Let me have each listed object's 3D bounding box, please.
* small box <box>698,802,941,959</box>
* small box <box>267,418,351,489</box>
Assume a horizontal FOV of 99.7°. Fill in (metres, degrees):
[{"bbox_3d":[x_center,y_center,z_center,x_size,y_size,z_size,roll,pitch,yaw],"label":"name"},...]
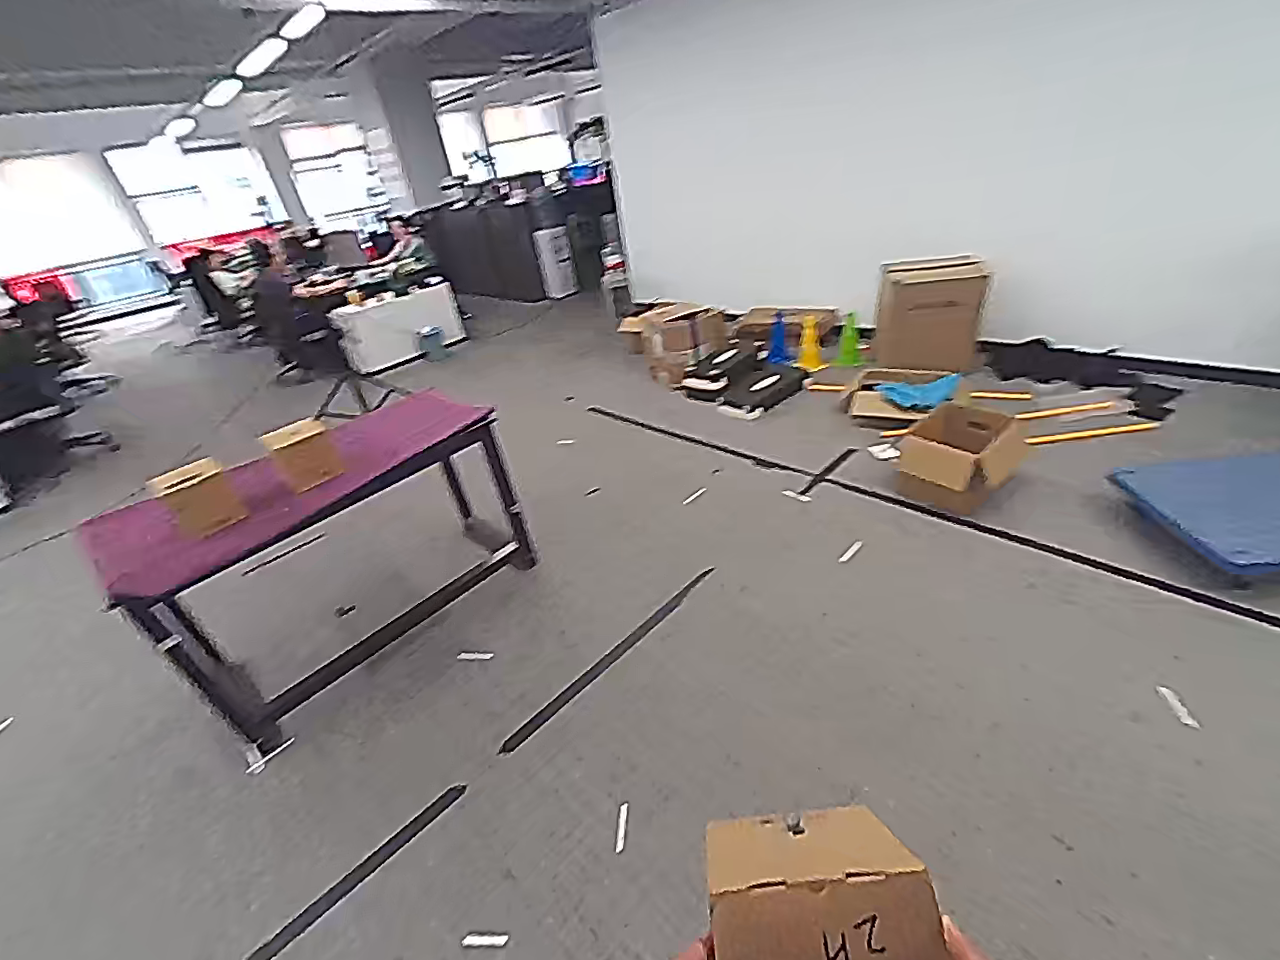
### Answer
[{"bbox_3d":[0.143,0.396,0.452,0.168,0.176,0.179,-9,72,3],"label":"small box"},{"bbox_3d":[-1.126,-0.089,1.845,0.179,0.176,0.168,22,44,40],"label":"small box"}]
